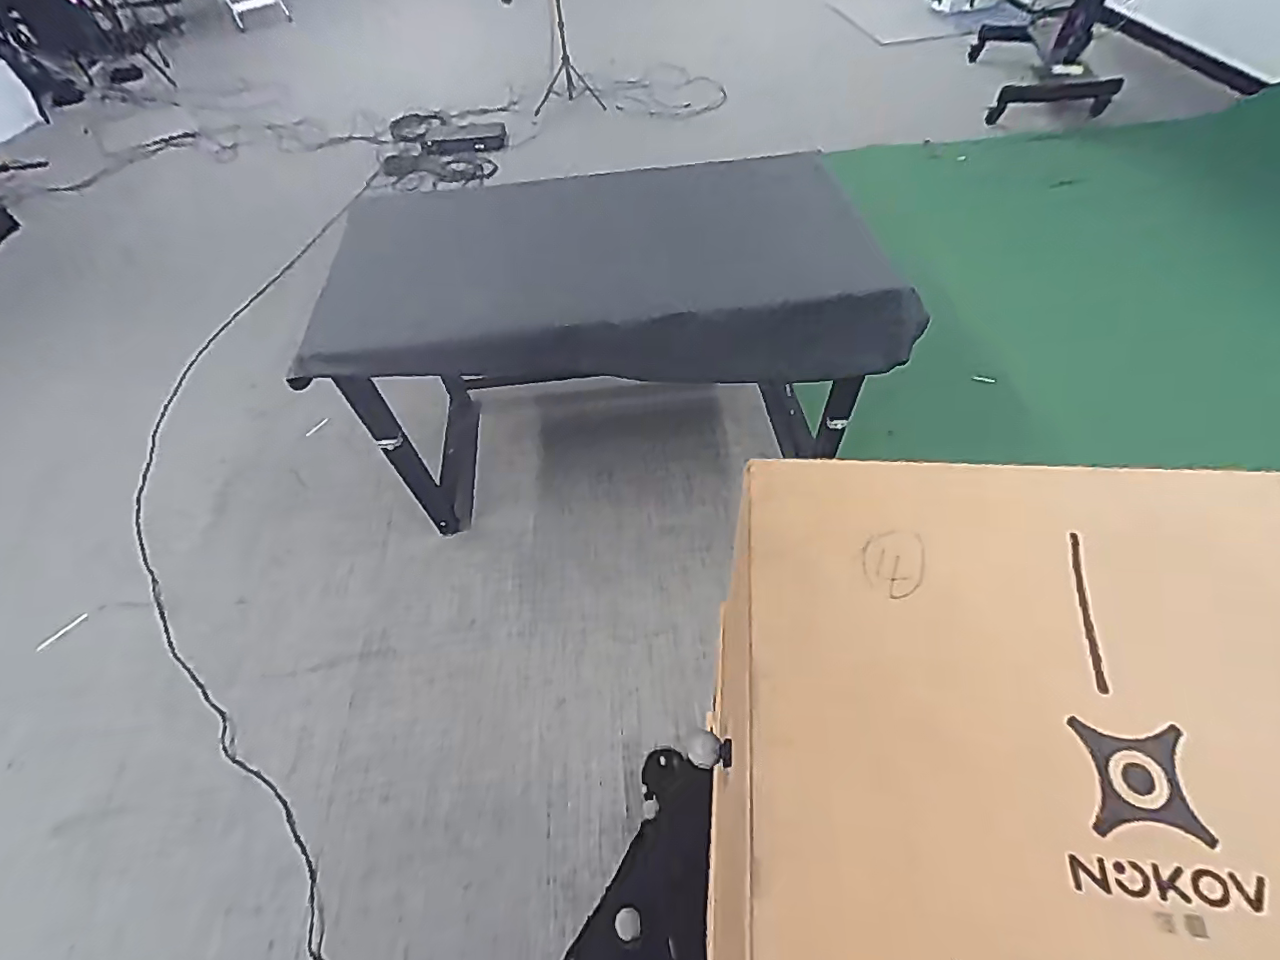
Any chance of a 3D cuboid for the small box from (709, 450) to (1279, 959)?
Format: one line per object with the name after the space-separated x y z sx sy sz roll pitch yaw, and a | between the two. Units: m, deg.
0.112 0.107 0.200 0.168 0.176 0.179 2 62 7 | small box
